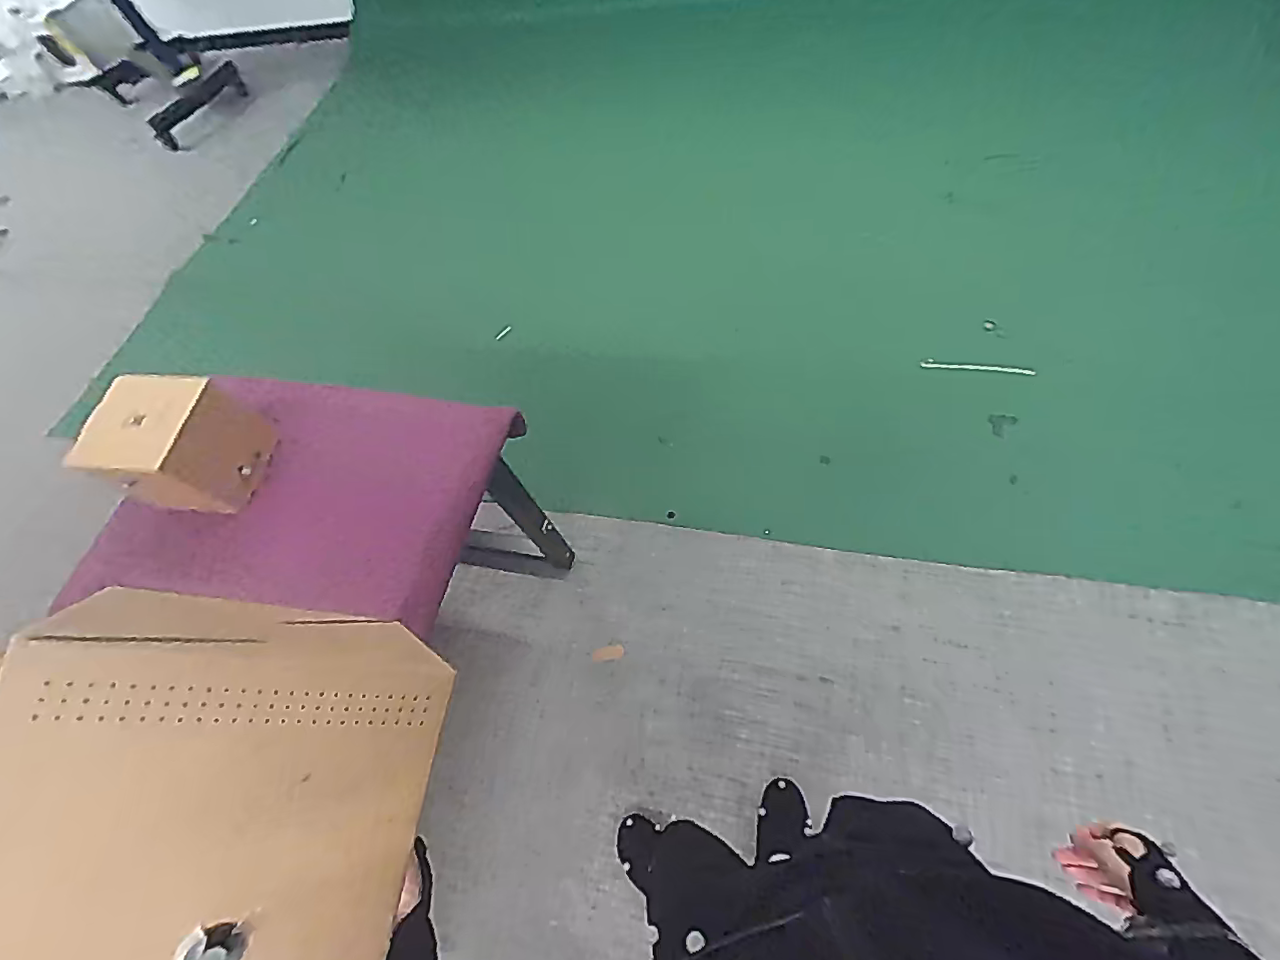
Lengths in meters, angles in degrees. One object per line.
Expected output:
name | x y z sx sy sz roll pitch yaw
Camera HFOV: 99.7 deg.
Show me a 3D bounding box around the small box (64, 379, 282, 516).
small box | -0.752 -0.048 0.893 0.179 0.176 0.168 4 65 10
